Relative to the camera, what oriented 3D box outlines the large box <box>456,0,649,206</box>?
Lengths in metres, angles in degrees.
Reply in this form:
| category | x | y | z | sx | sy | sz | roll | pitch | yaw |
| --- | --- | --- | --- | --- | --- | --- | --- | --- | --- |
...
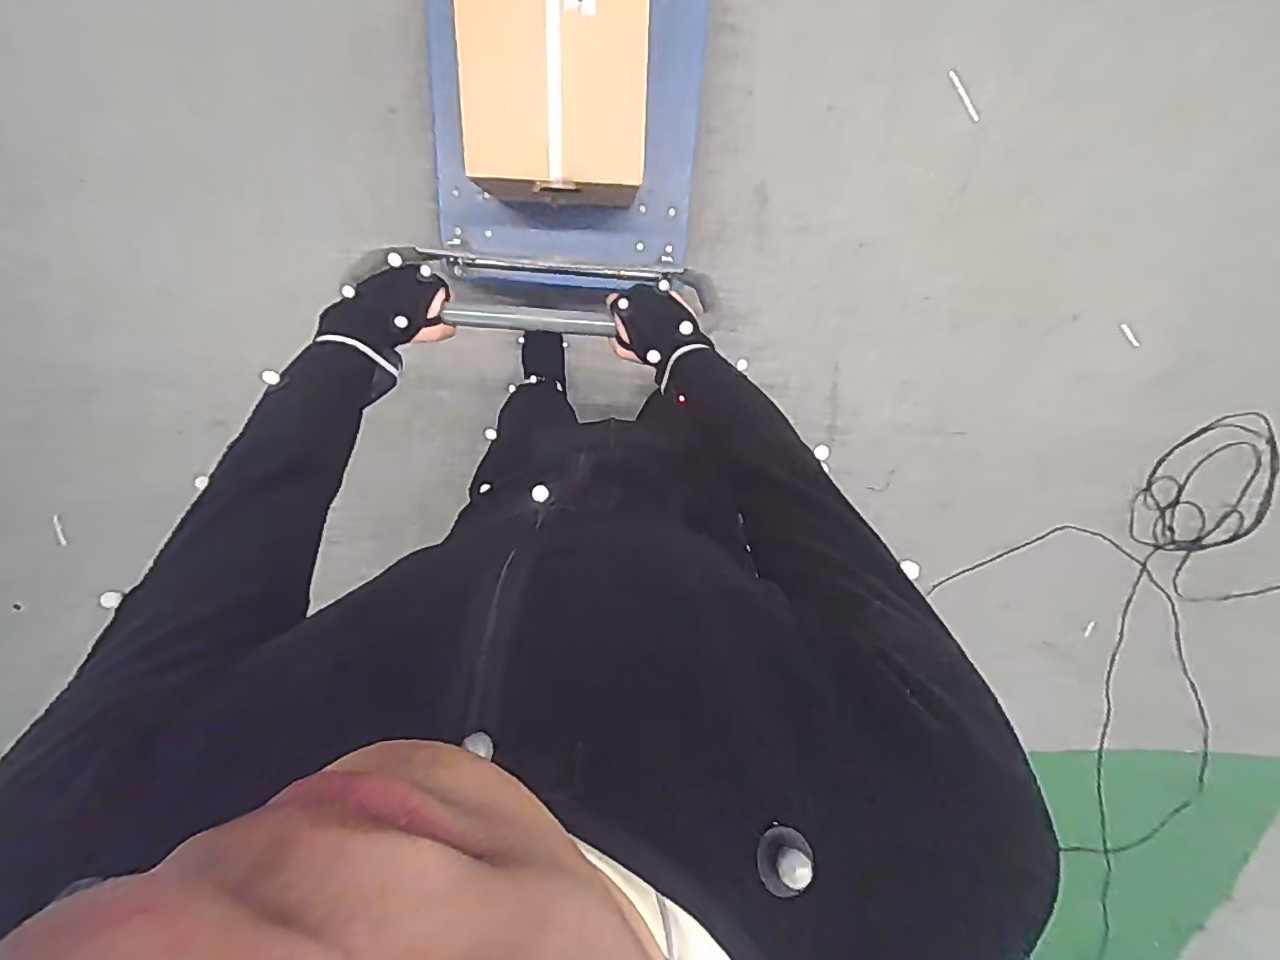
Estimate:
| category | x | y | z | sx | sy | sz | roll | pitch | yaw |
| --- | --- | --- | --- | --- | --- | --- | --- | --- | --- |
| large box | -0.148 | -0.764 | 1.034 | 0.320 | 0.320 | 0.408 | 0 | 111 | -4 |
